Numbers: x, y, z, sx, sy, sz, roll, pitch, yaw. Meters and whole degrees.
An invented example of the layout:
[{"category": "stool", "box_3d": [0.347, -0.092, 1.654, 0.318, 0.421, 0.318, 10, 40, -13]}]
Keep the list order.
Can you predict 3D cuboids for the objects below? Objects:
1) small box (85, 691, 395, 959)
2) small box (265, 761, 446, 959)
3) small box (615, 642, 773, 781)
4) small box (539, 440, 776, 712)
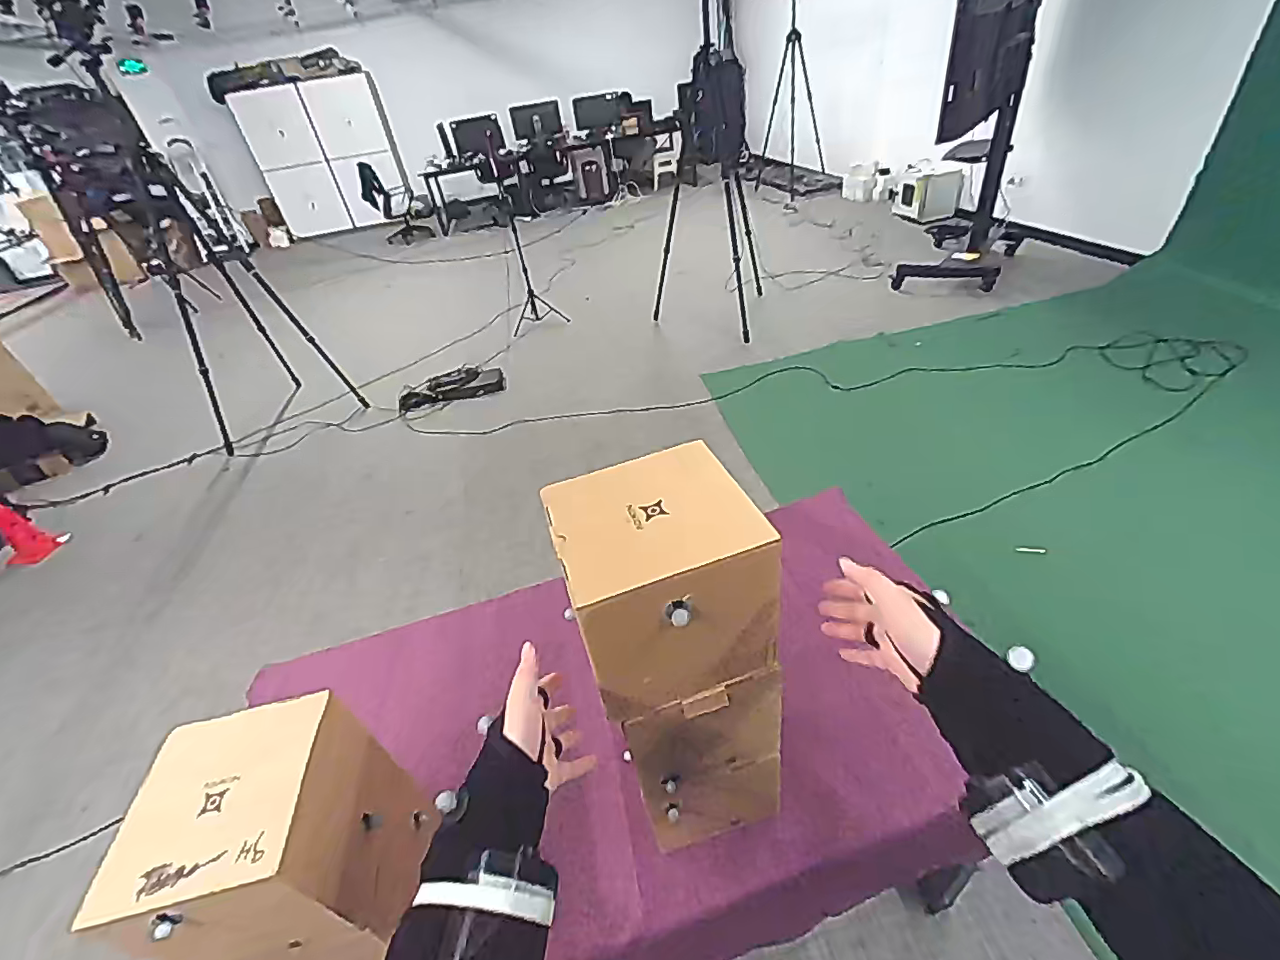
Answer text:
[{"category": "small box", "box_3d": [-0.377, 0.357, 0.558, 0.168, 0.176, 0.179, -15, 37, -3]}, {"category": "small box", "box_3d": [-0.351, 0.485, 0.660, 0.168, 0.176, 0.179, -14, 39, -3]}, {"category": "small box", "box_3d": [0.046, 0.219, 0.631, 0.168, 0.176, 0.179, -17, 37, -8]}, {"category": "small box", "box_3d": [0.017, 0.091, 0.533, 0.179, 0.176, 0.168, -19, 38, -8]}]
